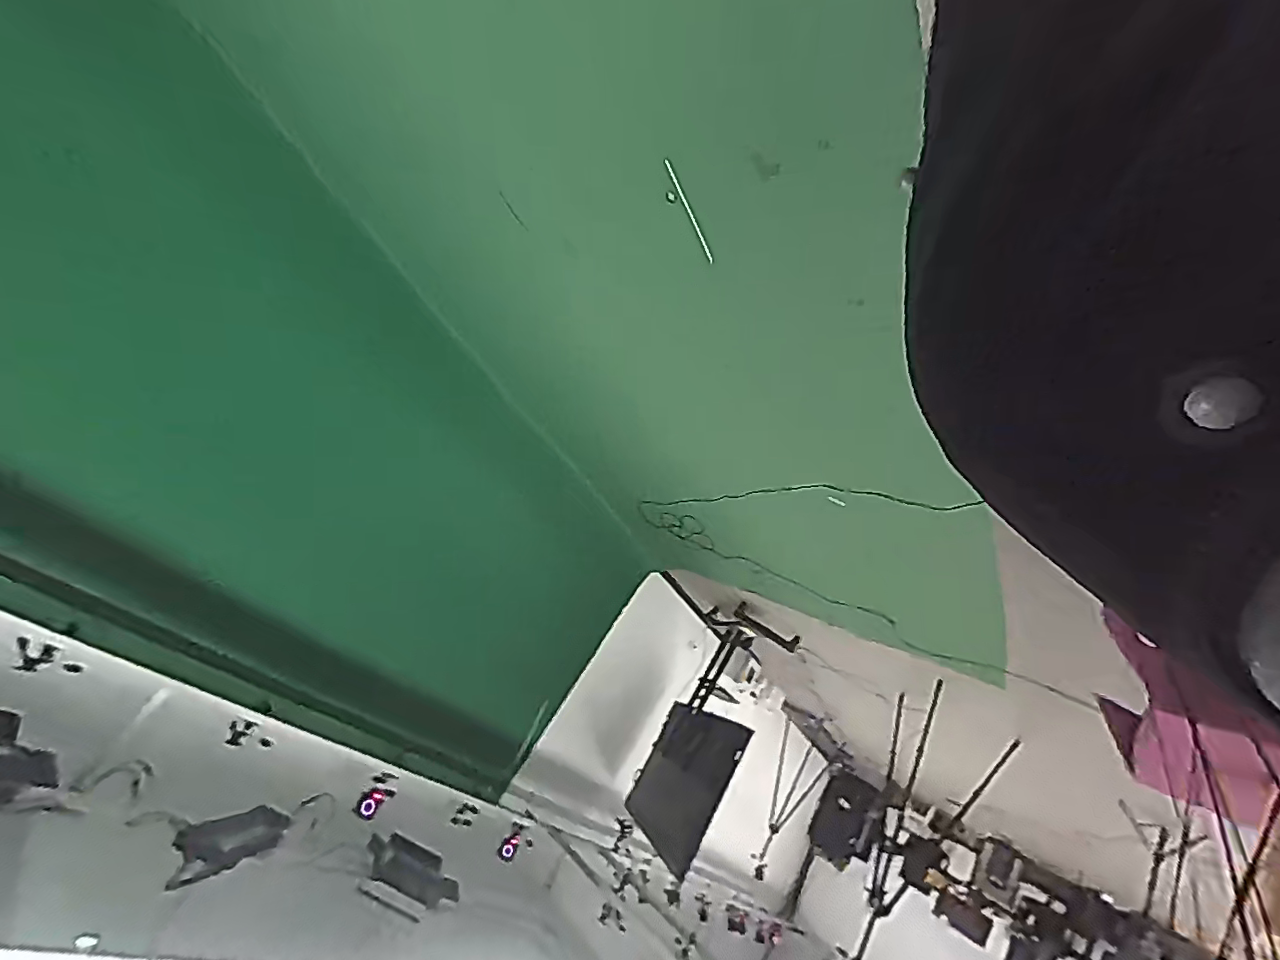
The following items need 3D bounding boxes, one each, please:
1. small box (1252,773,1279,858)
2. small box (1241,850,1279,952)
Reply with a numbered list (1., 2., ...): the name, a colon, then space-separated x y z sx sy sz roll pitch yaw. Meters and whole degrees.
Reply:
1. small box: 1.494 0.782 1.184 0.179 0.176 0.168 11 148 46
2. small box: 1.404 0.905 1.122 0.179 0.176 0.168 12 150 45
